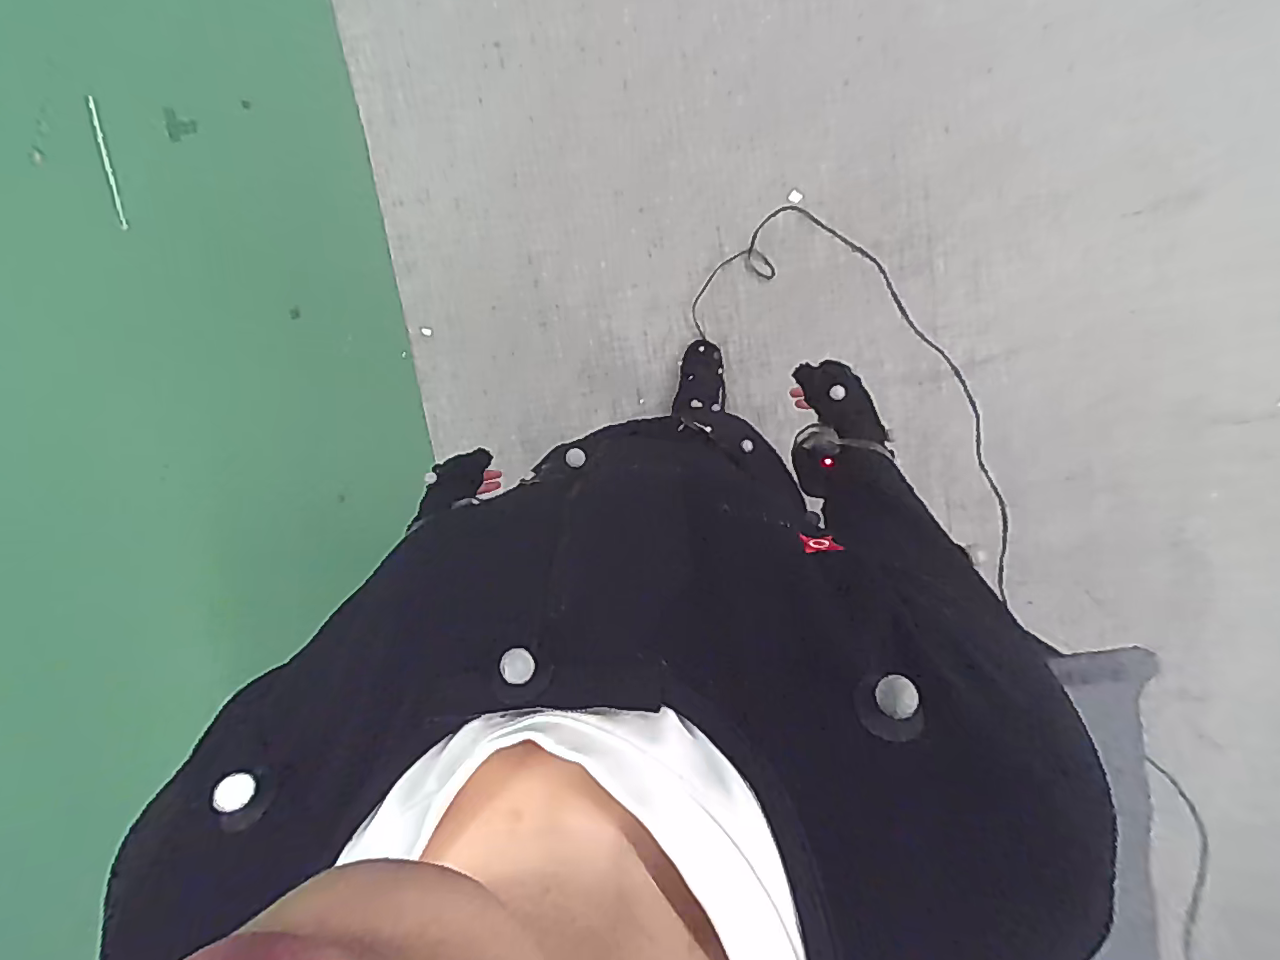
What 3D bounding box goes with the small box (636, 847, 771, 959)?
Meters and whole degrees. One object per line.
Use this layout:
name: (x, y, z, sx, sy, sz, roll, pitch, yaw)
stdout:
small box: (0.091, 0.646, 0.746, 0.168, 0.176, 0.179, -14, 100, 4)
